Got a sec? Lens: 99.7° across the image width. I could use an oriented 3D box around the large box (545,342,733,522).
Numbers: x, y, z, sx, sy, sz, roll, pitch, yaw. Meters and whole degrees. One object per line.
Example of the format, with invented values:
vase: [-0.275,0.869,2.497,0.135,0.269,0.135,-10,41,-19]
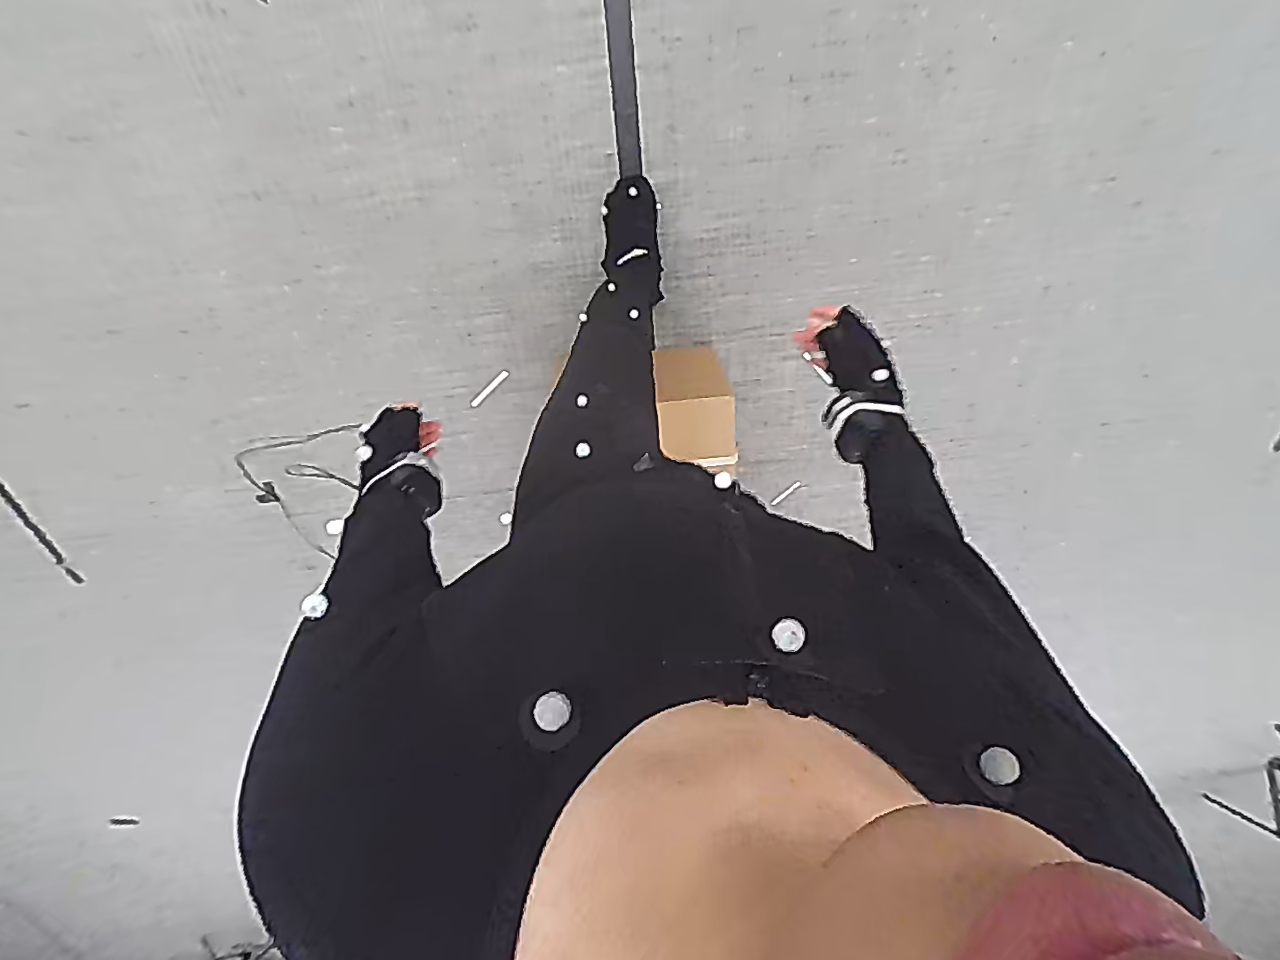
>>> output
large box: [0.007,-0.126,1.341,0.408,0.320,0.320,-5,123,2]
